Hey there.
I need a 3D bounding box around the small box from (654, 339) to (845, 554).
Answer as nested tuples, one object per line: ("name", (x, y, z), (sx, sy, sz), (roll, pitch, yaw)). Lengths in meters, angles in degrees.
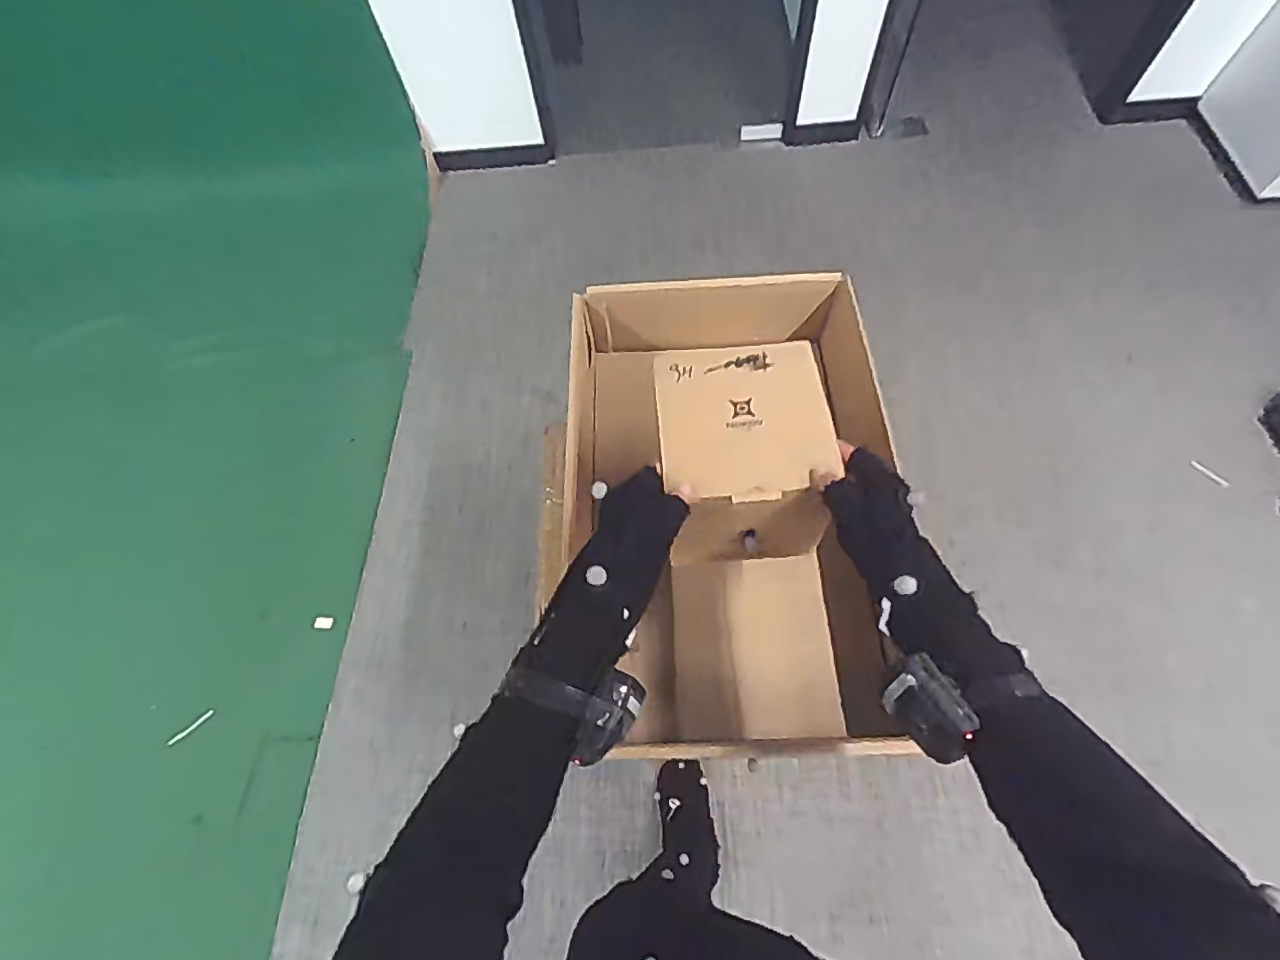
("small box", (0.106, -0.025, 0.590), (0.168, 0.176, 0.179), (-5, 62, 3))
